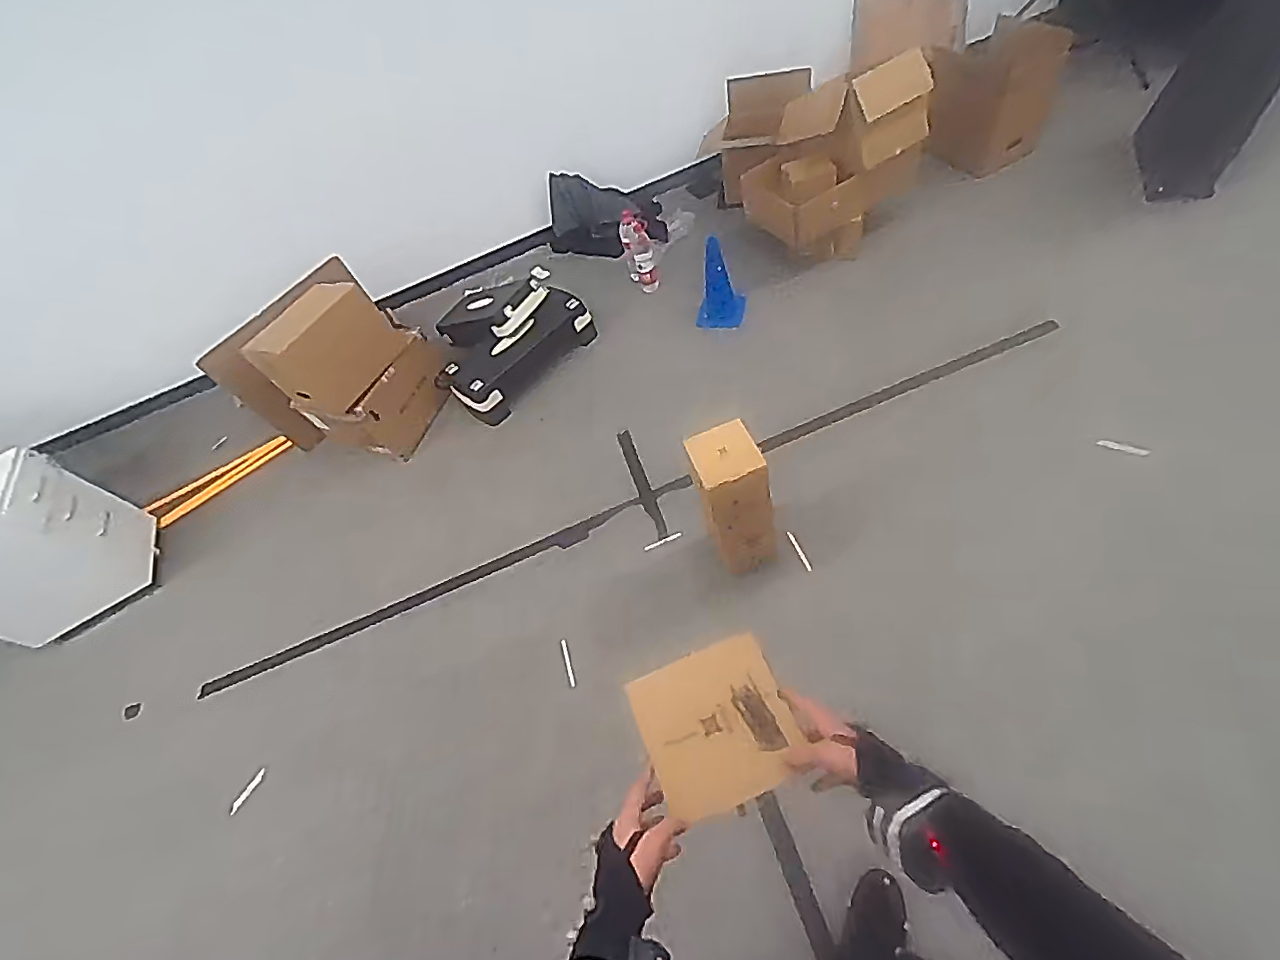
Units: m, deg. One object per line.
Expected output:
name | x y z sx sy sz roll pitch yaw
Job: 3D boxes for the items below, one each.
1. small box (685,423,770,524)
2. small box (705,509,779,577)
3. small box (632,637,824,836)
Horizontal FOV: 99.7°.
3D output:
small box | 0.233 -0.014 1.433 0.168 0.176 0.179 -22 53 0
small box | 0.319 0.171 1.690 0.168 0.176 0.179 -25 54 -1
small box | 0.102 0.326 0.694 0.179 0.176 0.168 -21 60 -6
